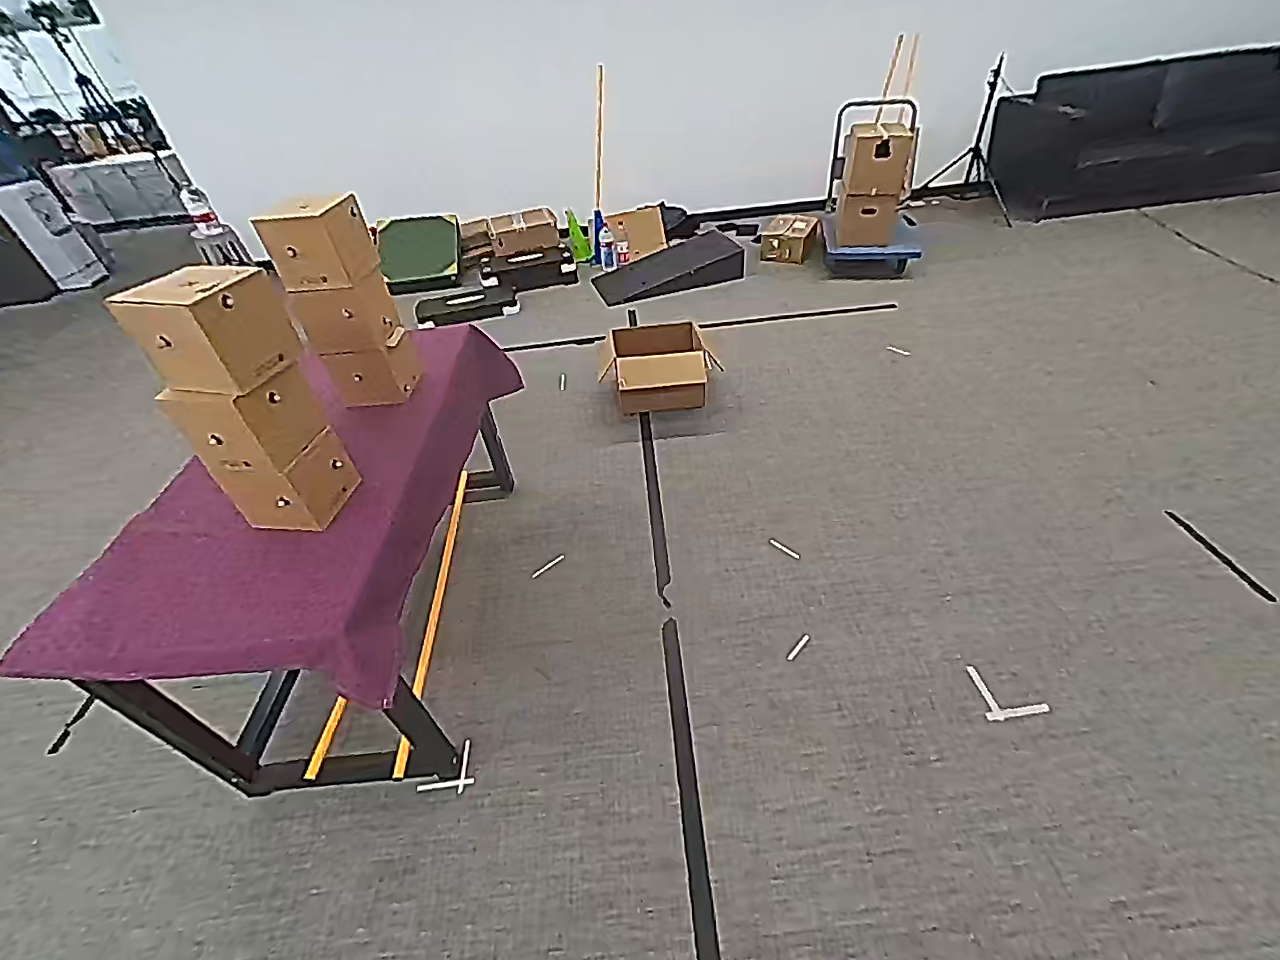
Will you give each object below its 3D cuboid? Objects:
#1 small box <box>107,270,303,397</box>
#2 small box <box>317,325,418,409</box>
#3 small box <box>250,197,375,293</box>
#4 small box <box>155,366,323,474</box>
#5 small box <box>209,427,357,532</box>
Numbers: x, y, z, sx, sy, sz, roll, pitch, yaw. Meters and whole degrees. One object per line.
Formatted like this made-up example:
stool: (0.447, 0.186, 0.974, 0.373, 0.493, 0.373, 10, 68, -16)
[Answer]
small box: (-0.762, -0.262, 0.969, 0.179, 0.176, 0.168, 5, 42, 13)
small box: (-0.749, -0.314, 1.513, 0.179, 0.176, 0.168, -5, 42, 3)
small box: (-0.772, -0.560, 1.300, 0.168, 0.176, 0.179, -2, 42, 4)
small box: (-0.770, -0.127, 1.065, 0.168, 0.176, 0.179, 3, 42, 9)
small box: (-0.755, -0.002, 1.170, 0.179, 0.176, 0.168, 1, 42, 9)
